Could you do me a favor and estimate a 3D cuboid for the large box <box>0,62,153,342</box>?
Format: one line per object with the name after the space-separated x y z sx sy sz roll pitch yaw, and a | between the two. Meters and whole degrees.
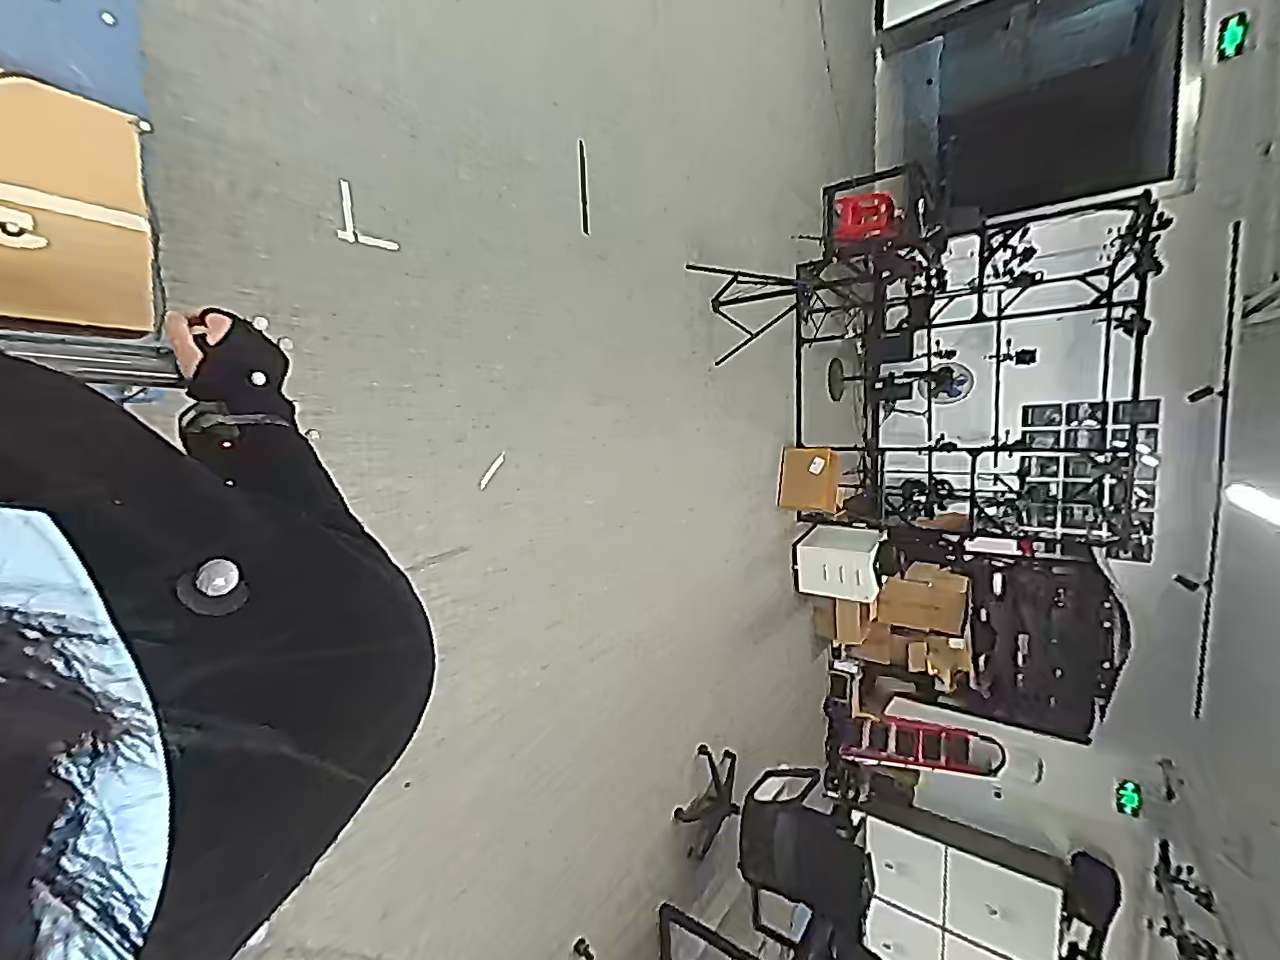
-0.976 -0.380 0.729 0.408 0.320 0.320 -7 99 -55 | large box
